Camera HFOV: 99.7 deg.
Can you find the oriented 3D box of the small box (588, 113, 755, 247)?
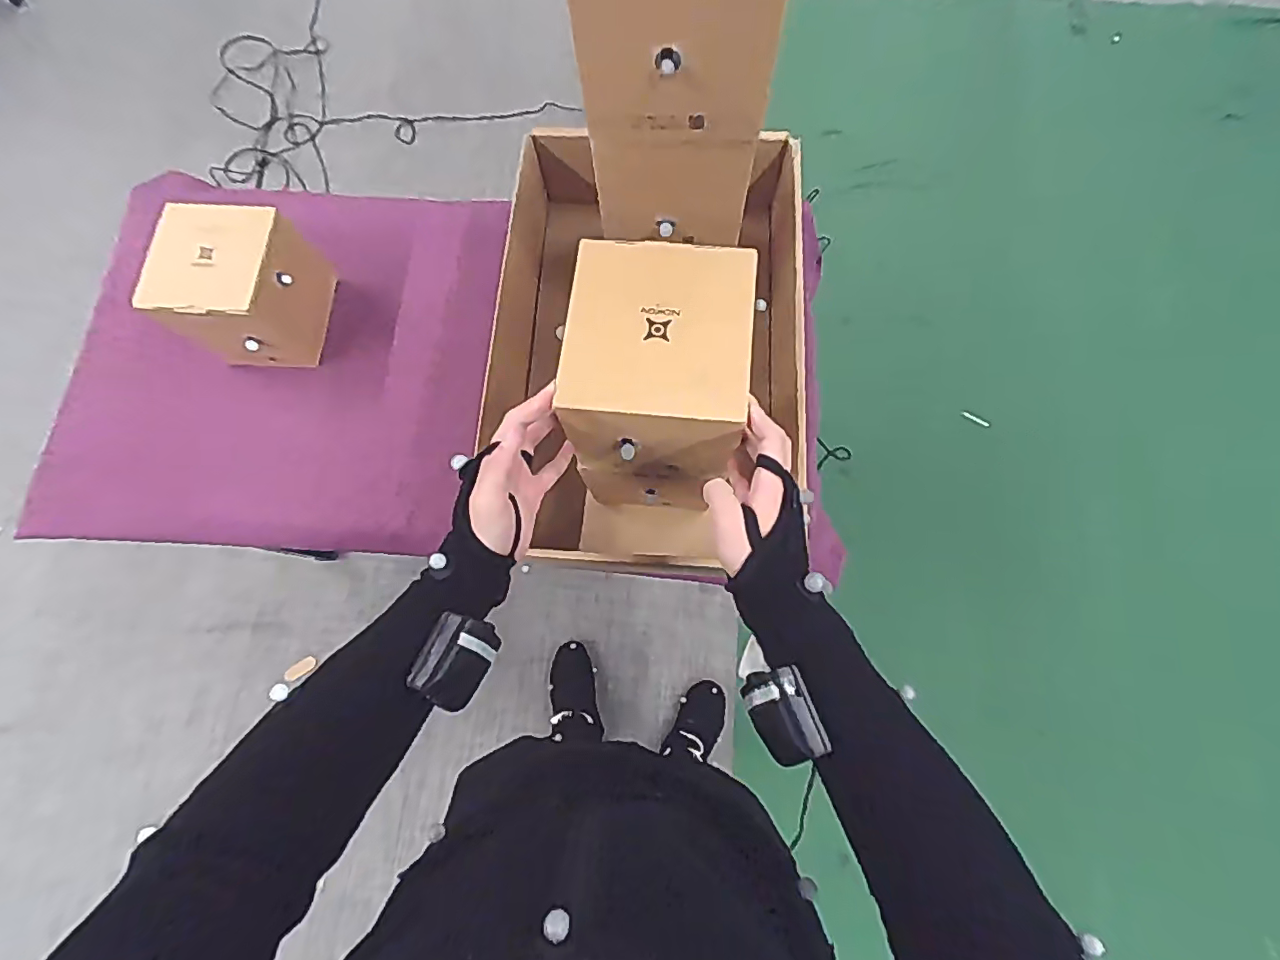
[{"bbox_3d":[0.037,-0.393,0.623,0.168,0.176,0.179,2,77,3],"label":"small box"}]

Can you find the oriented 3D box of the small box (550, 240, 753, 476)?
[{"bbox_3d":[0.018,-0.112,0.550,0.168,0.176,0.179,5,73,5],"label":"small box"}]

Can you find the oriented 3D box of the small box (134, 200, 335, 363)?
[{"bbox_3d":[-0.609,-0.297,0.839,0.168,0.176,0.179,4,75,1],"label":"small box"}]

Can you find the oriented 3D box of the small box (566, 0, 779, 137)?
[{"bbox_3d":[0.032,-0.429,0.461,0.168,0.176,0.179,3,76,3],"label":"small box"}]
